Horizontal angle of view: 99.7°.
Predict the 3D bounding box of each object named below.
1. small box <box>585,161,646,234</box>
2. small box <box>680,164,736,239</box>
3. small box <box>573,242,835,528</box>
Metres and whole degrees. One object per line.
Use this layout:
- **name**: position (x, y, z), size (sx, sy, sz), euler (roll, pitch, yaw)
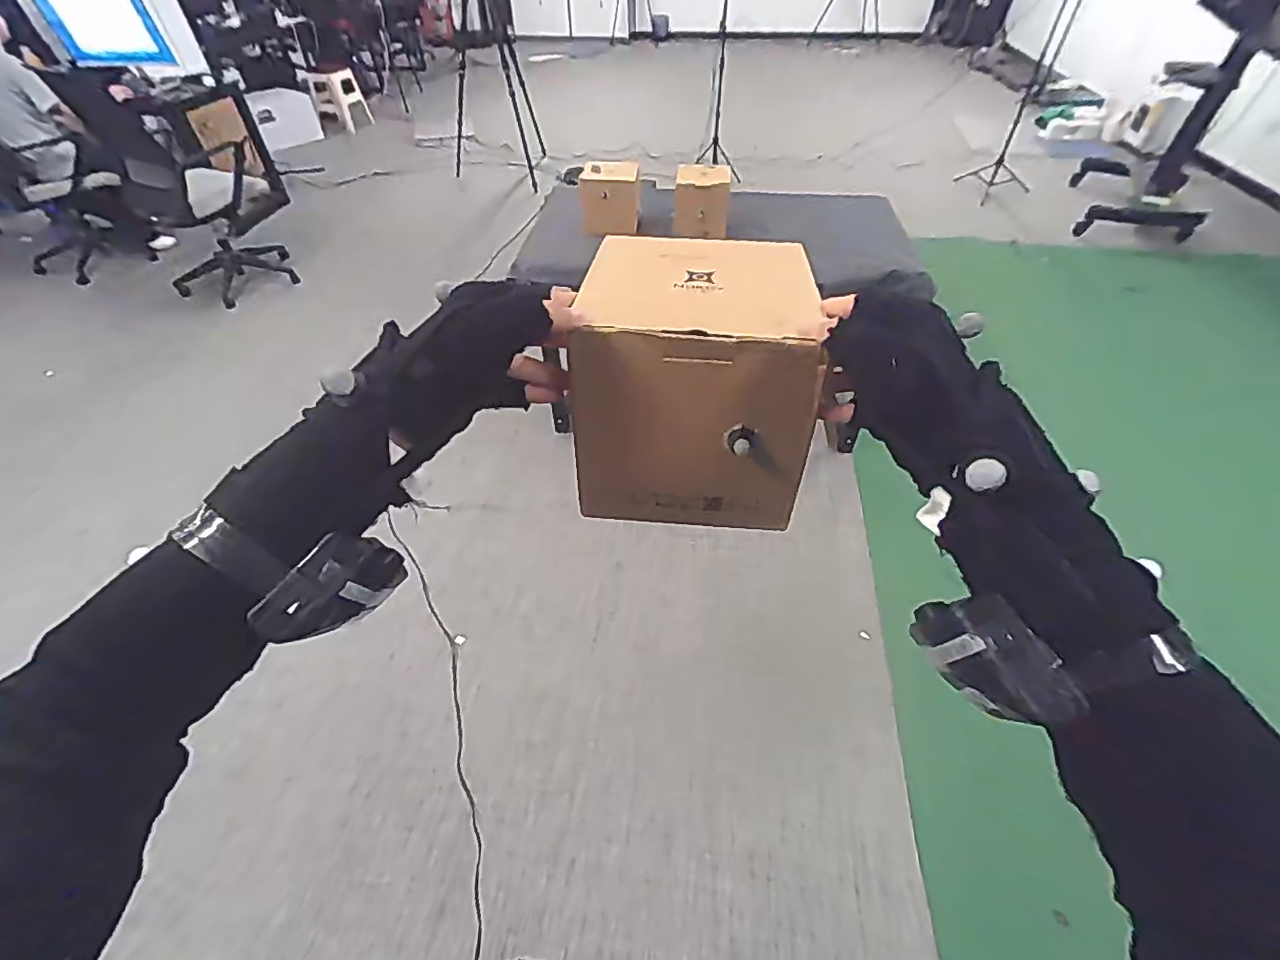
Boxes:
- **small box**: position (-0.074, -0.918, 1.757), size (0.179, 0.176, 0.168), euler (4, 47, 3)
- **small box**: position (0.216, -0.889, 1.729), size (0.168, 0.176, 0.179), euler (5, 48, 5)
- **small box**: position (0.046, -0.080, 0.445), size (0.168, 0.176, 0.179), euler (5, 41, 3)
